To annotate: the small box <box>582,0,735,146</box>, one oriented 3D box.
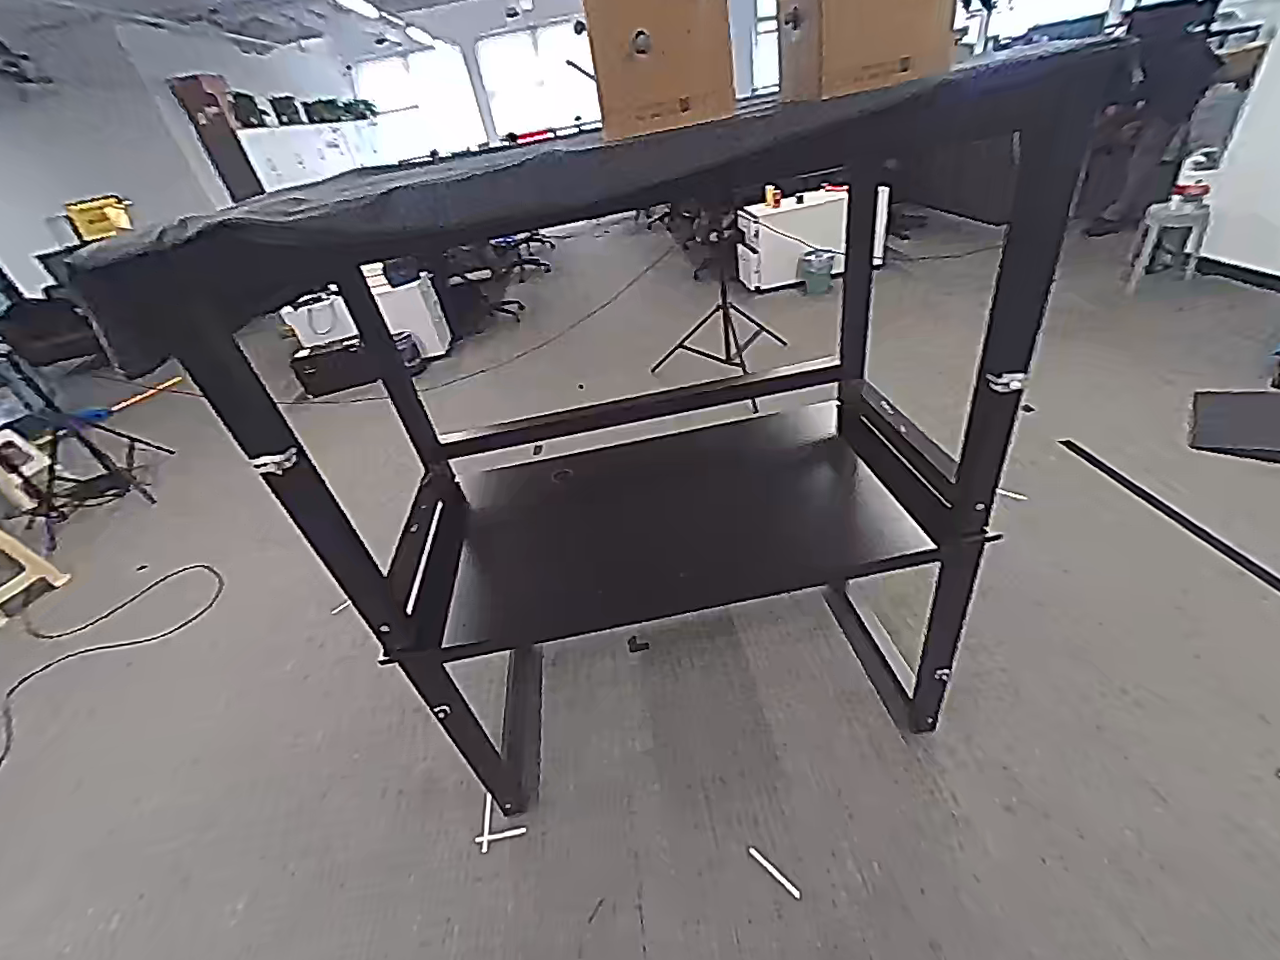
[{"bbox_3d":[0.023,-0.544,0.701,0.168,0.176,0.179,-10,34,3],"label":"small box"}]
